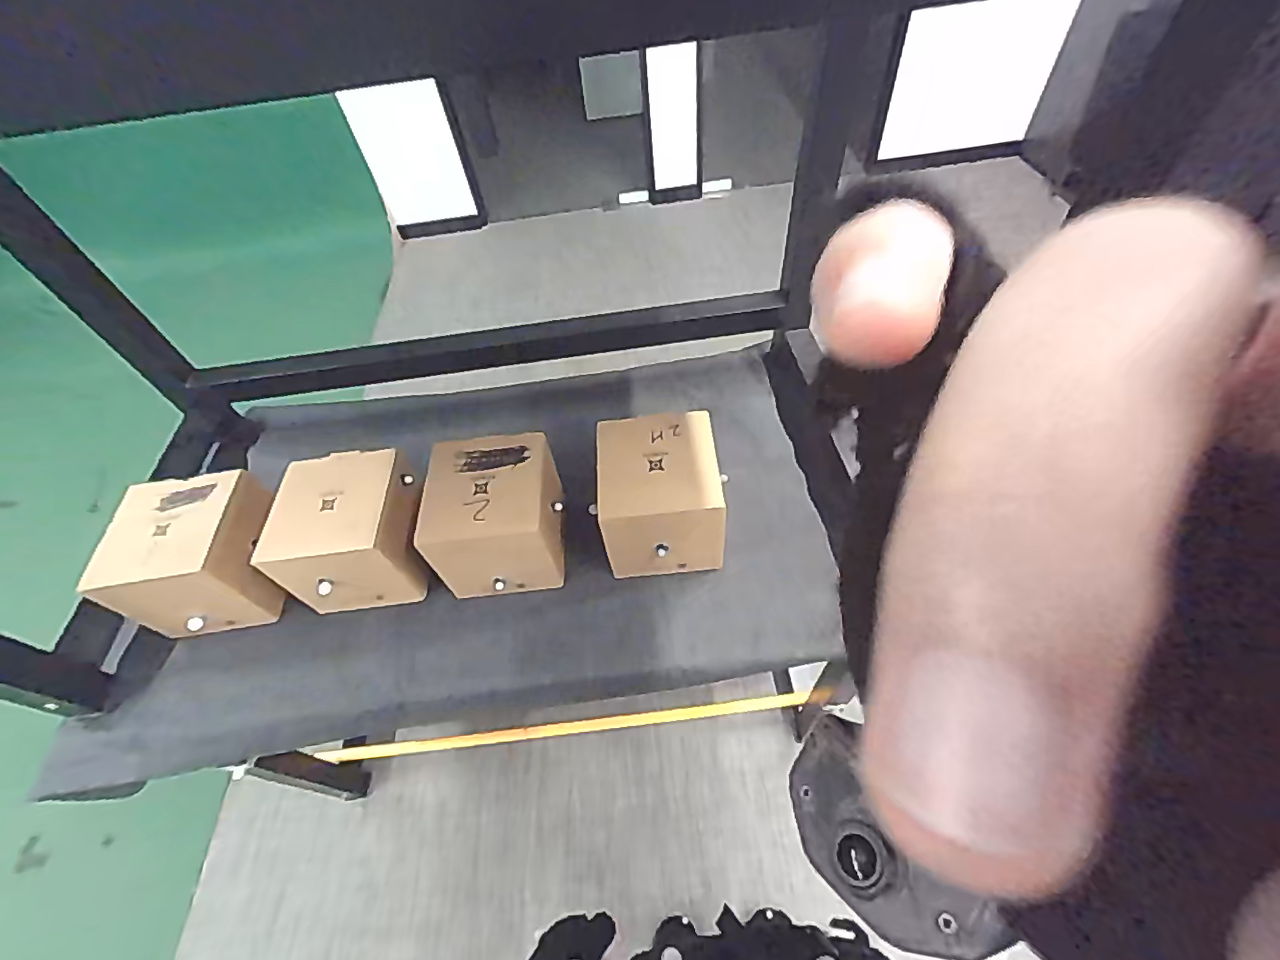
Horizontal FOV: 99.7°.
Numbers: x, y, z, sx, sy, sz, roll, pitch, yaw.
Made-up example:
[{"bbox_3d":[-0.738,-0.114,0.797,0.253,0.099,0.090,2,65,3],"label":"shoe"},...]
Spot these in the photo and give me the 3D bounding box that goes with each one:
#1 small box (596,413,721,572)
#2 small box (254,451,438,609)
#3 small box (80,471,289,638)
[{"bbox_3d":[0.029,0.026,0.804,0.168,0.176,0.179,-5,51,2],"label":"small box"},{"bbox_3d":[-0.423,0.082,0.816,0.168,0.176,0.179,-7,51,1],"label":"small box"},{"bbox_3d":[-0.648,0.114,0.813,0.168,0.176,0.179,-9,52,-1],"label":"small box"}]
